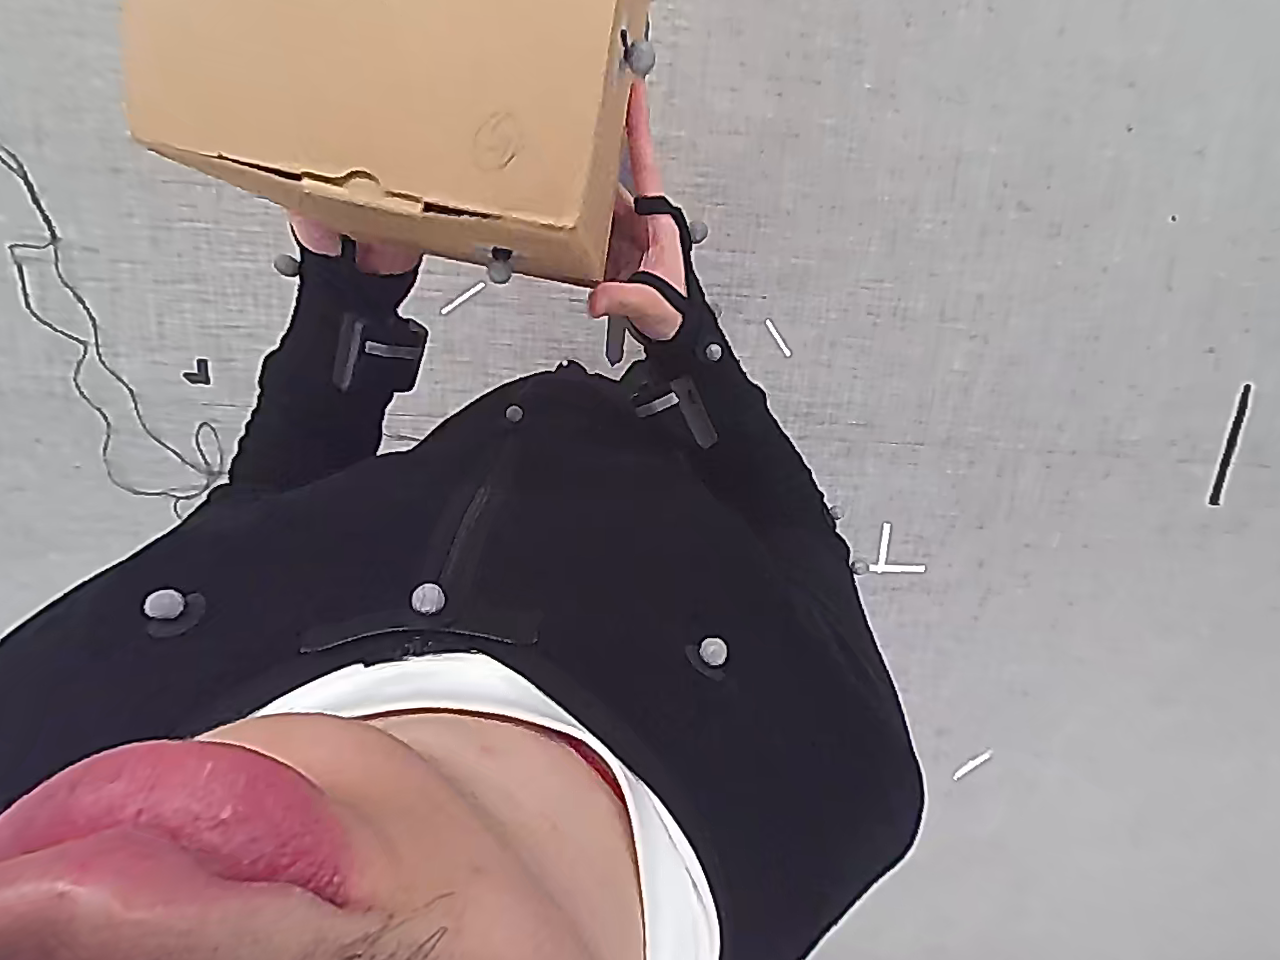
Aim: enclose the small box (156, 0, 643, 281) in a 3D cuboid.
[{"bbox_3d":[-0.090,-0.211,0.272,0.168,0.176,0.179,9,101,-5],"label":"small box"}]
